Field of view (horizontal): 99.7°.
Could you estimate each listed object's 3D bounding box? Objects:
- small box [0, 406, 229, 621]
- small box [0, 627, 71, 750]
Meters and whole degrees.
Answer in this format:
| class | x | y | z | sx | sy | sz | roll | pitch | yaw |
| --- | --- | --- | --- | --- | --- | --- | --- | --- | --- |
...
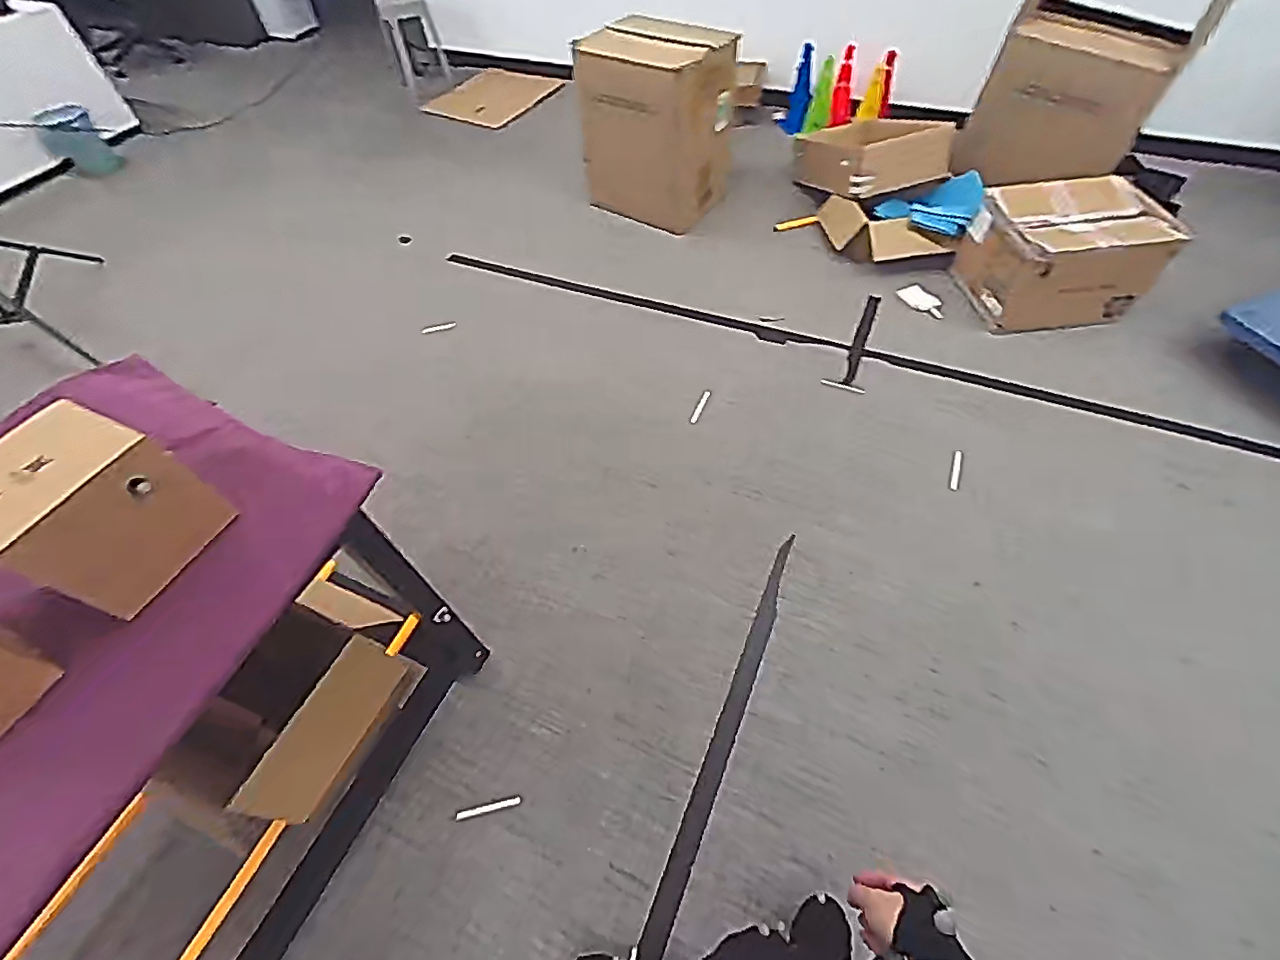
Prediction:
| class | x | y | z | sx | sy | sz | roll | pitch | yaw |
| --- | --- | --- | --- | --- | --- | --- | --- | --- | --- |
| small box | -0.666 | 0.043 | 0.671 | 0.168 | 0.176 | 0.179 | 18 | 57 | 18 |
| small box | -0.779 | 0.223 | 0.547 | 0.168 | 0.176 | 0.179 | 19 | 58 | 17 |
